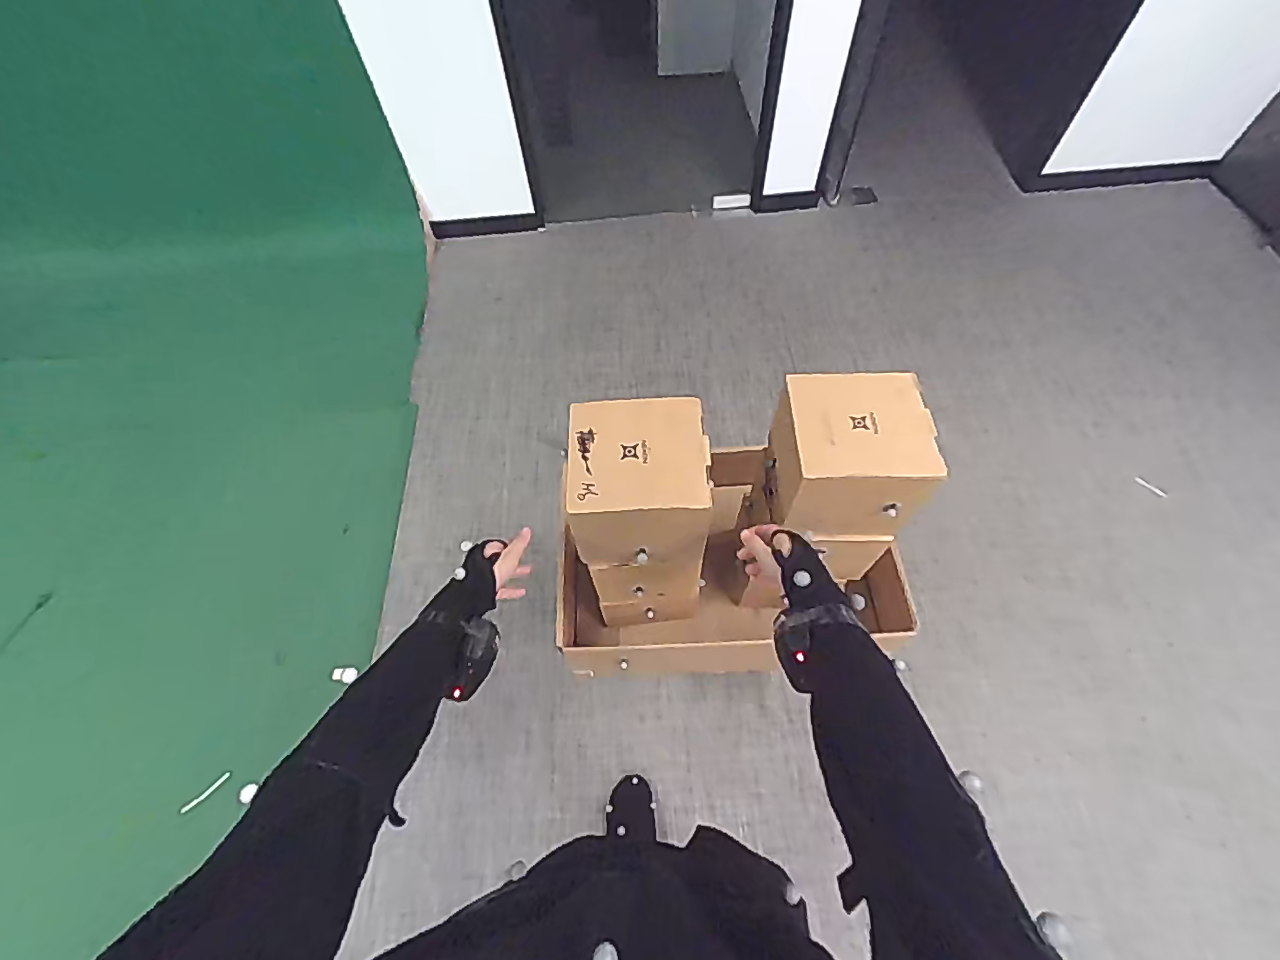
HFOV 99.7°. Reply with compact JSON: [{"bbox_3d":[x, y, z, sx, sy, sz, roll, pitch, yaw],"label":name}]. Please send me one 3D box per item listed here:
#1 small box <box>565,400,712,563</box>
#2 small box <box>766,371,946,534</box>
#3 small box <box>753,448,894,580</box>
[{"bbox_3d":[-0.002,0.007,0.744,0.179,0.176,0.168,-2,58,0],"label":"small box"},{"bbox_3d":[0.283,-0.033,0.752,0.179,0.176,0.168,-1,58,3],"label":"small box"},{"bbox_3d":[0.284,0.059,0.887,0.179,0.176,0.168,0,59,2],"label":"small box"}]
